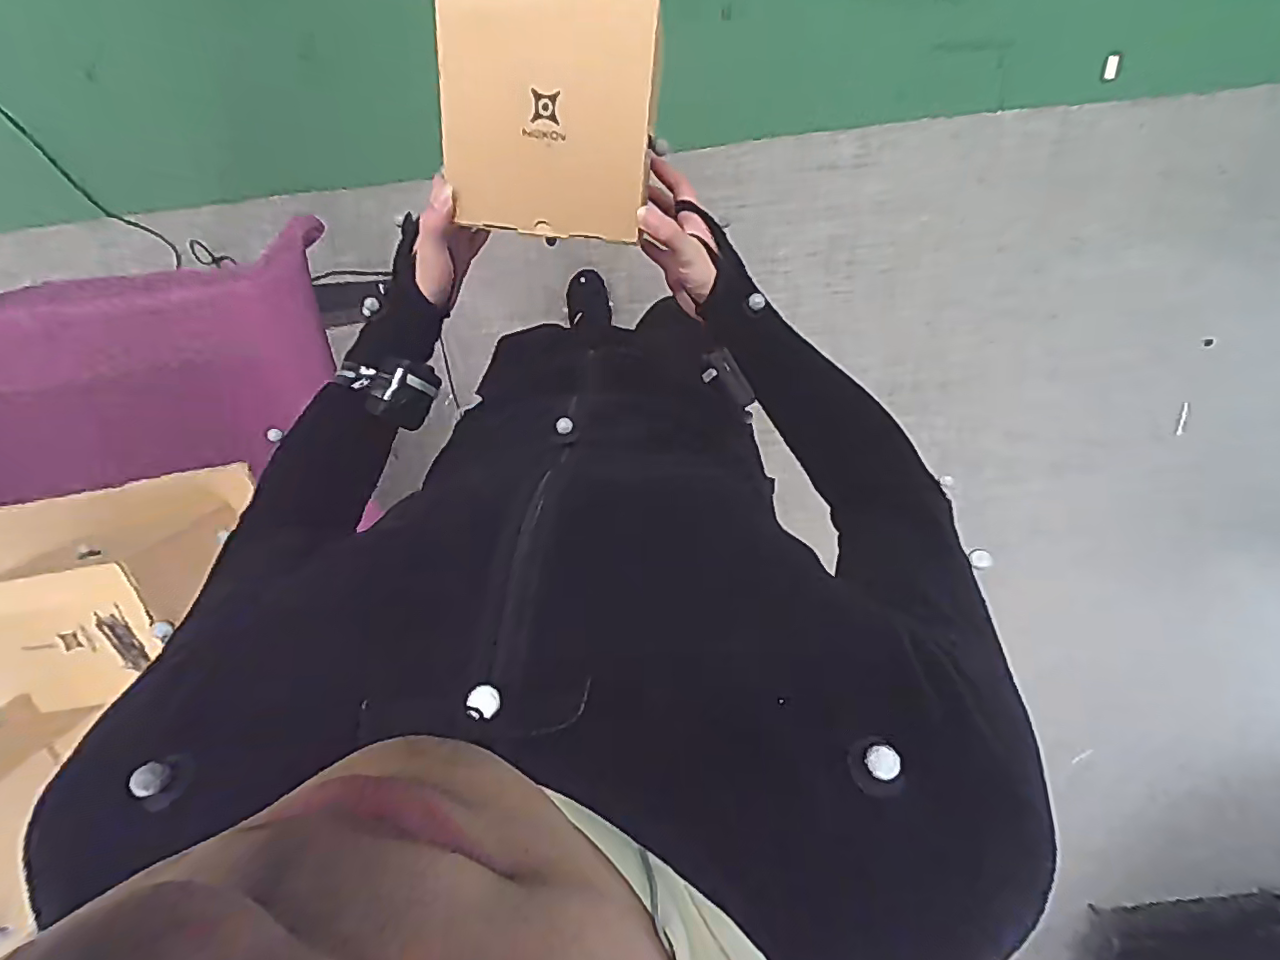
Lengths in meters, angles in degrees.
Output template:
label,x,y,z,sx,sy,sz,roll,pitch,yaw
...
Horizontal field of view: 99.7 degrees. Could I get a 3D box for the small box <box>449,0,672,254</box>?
label,x,y,z,sx,sy,sz,roll,pitch,yaw
small box,-0.065,-0.314,0.498,0.168,0.176,0.179,6,116,-1
